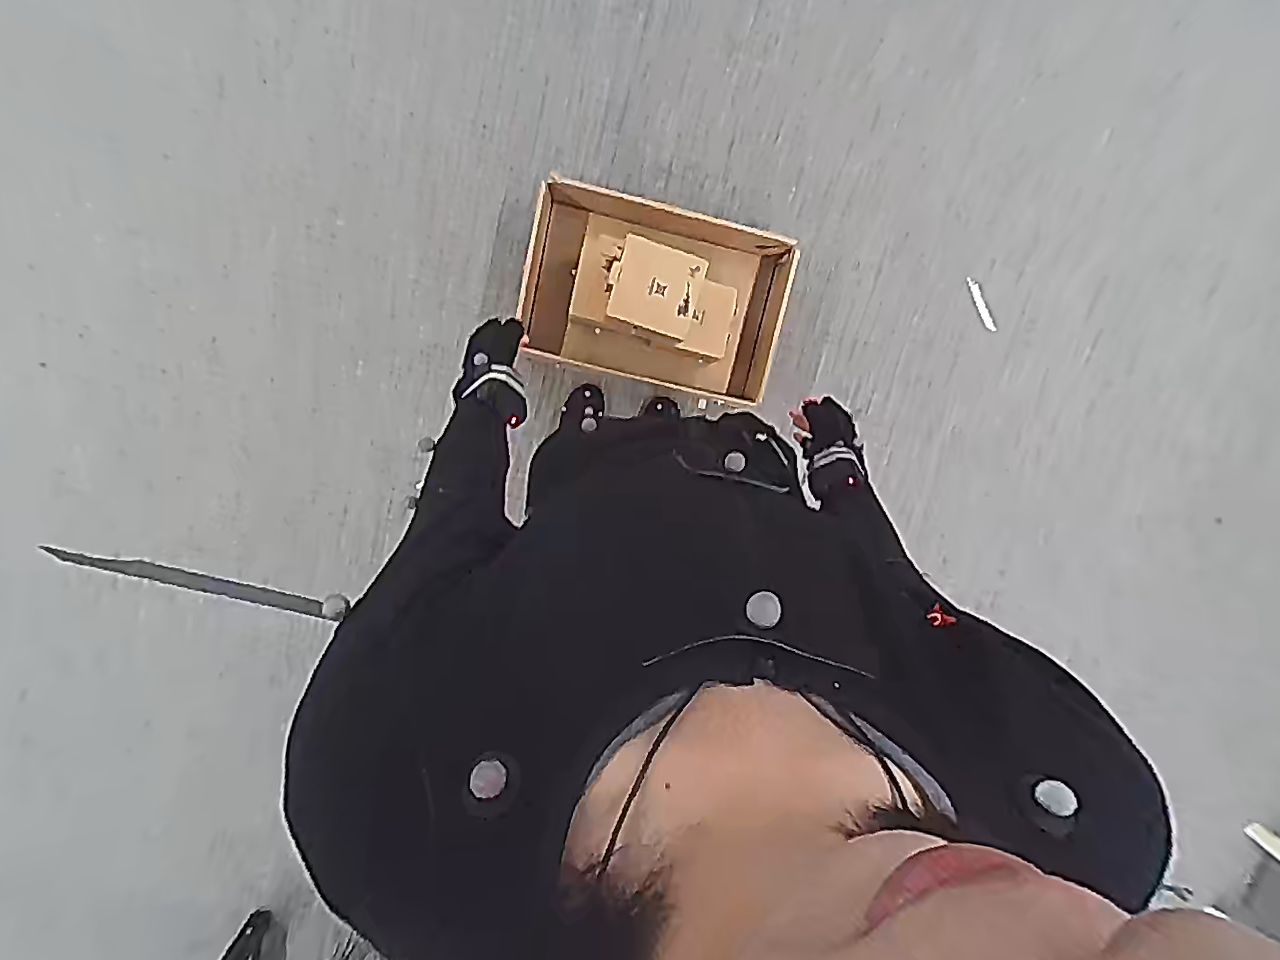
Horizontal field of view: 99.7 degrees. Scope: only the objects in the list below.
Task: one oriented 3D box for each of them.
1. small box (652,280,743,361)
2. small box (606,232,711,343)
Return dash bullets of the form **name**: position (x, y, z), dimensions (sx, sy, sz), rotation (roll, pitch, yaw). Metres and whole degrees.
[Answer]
- **small box**: position (0.134, -0.395, 1.334), dimensions (0.179, 0.176, 0.168), rotation (13, 98, -4)
- **small box**: position (0.031, -0.400, 1.160), dimensions (0.179, 0.176, 0.168), rotation (17, 98, -7)
